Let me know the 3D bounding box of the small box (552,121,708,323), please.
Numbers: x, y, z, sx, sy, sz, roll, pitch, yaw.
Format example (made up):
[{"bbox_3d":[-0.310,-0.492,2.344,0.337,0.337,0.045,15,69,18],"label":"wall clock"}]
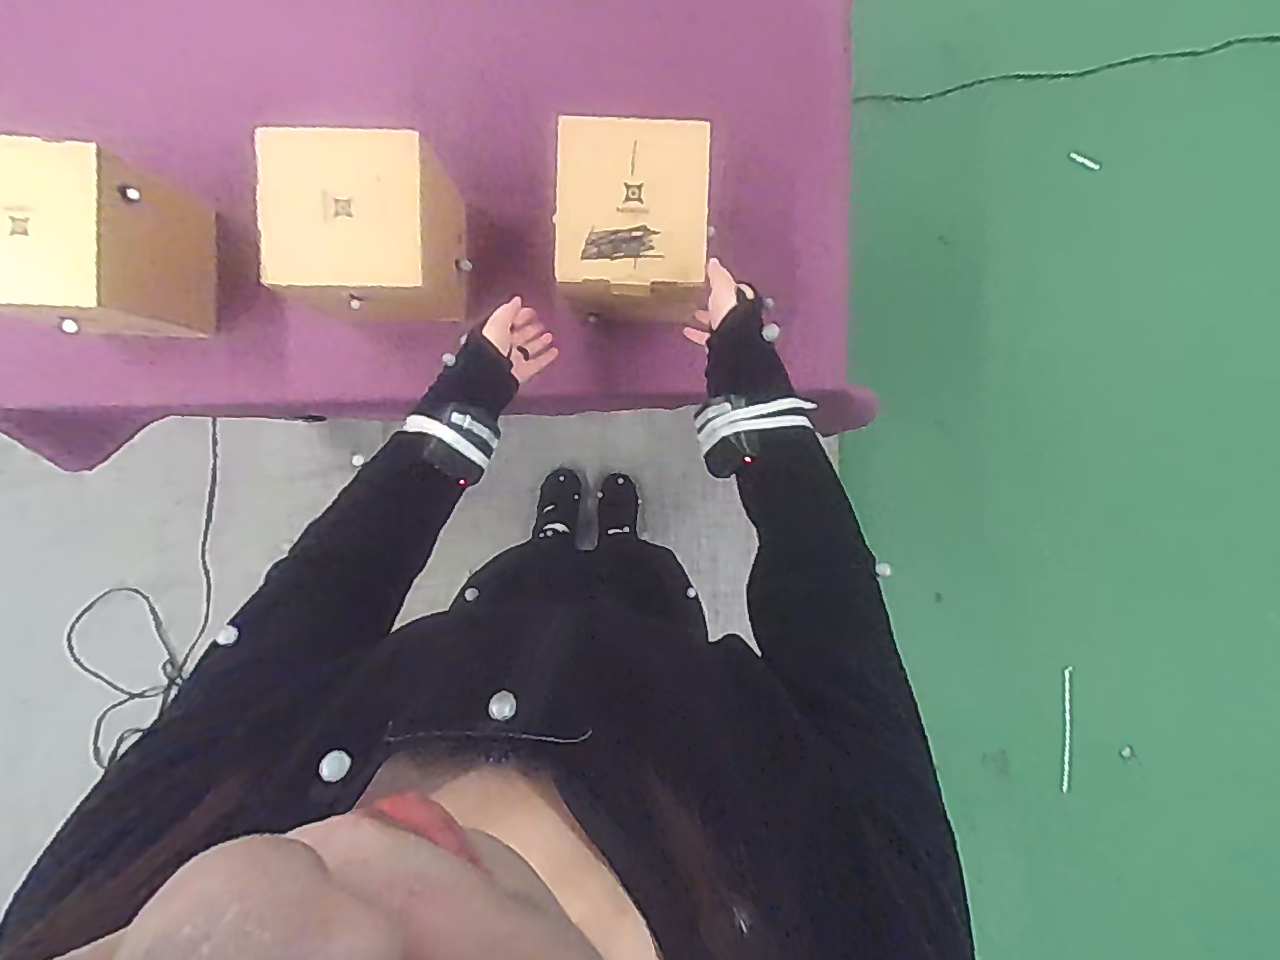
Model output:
[{"bbox_3d":[-0.011,-0.300,0.664,0.168,0.176,0.179,2,92,-1],"label":"small box"}]

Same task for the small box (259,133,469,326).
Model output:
[{"bbox_3d":[-0.324,-0.291,0.662,0.179,0.176,0.168,1,93,-1],"label":"small box"}]

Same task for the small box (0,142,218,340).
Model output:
[{"bbox_3d":[-0.657,-0.276,0.659,0.168,0.176,0.179,3,92,-1],"label":"small box"}]
